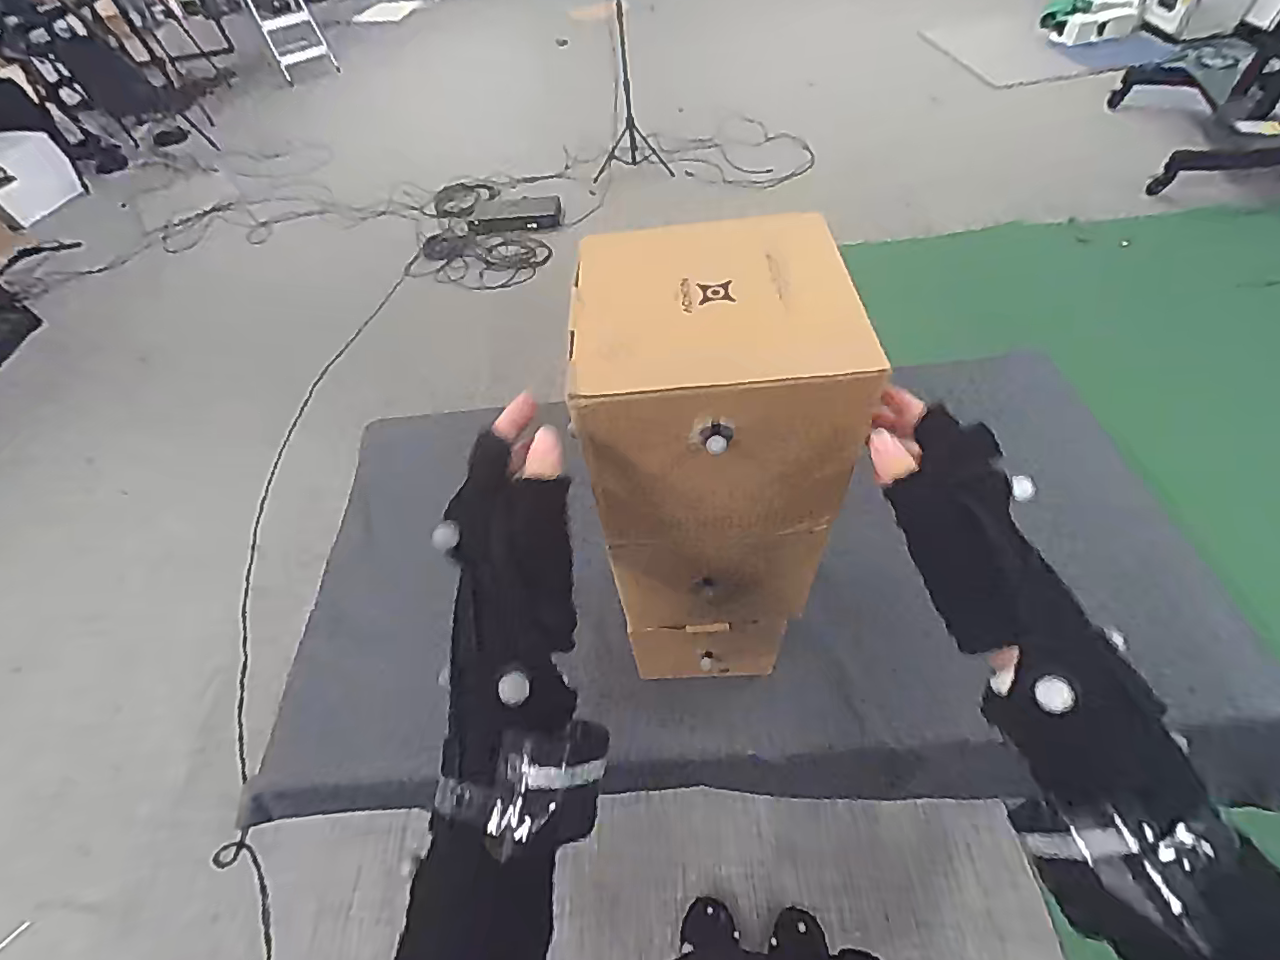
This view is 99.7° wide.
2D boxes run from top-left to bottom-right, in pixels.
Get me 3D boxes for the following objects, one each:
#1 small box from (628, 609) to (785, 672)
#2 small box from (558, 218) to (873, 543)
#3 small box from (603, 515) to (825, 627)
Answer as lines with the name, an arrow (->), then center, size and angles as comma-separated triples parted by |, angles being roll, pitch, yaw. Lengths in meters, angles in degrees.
small box -> 0.077, 0.129, 0.666 | 0.168, 0.176, 0.179 | -5, 53, 4
small box -> 0.046, -0.065, 0.404 | 0.179, 0.176, 0.168 | -6, 53, 3
small box -> 0.064, 0.033, 0.533 | 0.179, 0.176, 0.168 | -6, 52, 4
